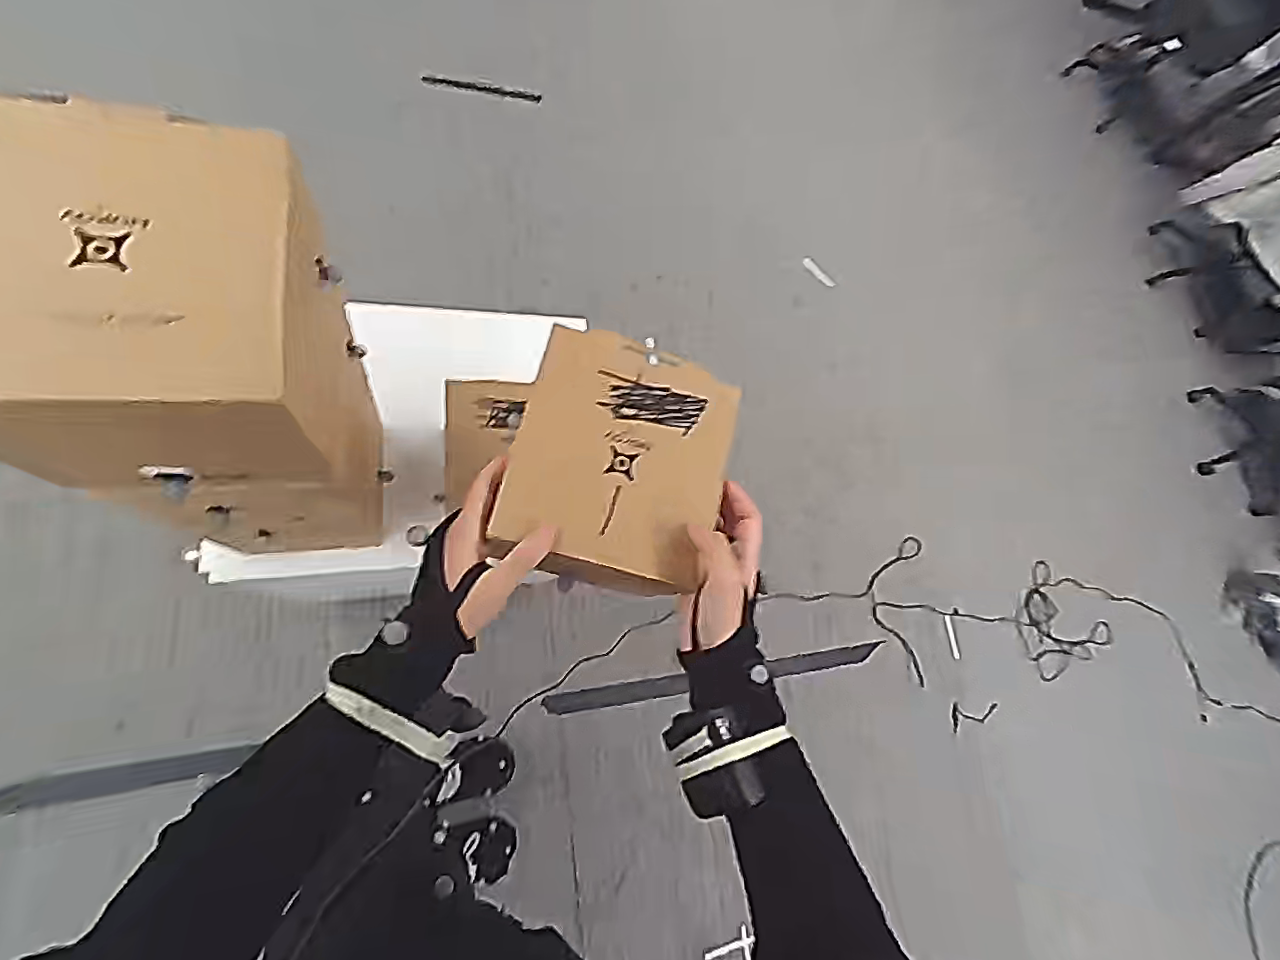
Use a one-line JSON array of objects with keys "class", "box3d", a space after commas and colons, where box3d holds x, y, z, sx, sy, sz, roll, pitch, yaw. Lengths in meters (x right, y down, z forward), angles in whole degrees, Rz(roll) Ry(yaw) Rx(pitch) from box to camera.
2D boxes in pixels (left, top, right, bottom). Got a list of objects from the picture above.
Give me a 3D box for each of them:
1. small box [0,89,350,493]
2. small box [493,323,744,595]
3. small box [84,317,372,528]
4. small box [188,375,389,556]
[{"class": "small box", "box3d": [-0.294, -0.099, 0.348, 0.168, 0.176, 0.179, -4, 77, -19]}, {"class": "small box", "box3d": [-0.029, -0.003, 0.487, 0.168, 0.176, 0.179, 18, 74, -11]}, {"class": "small box", "box3d": [-0.347, -0.055, 0.496, 0.168, 0.176, 0.179, -3, 75, -20]}, {"class": "small box", "box3d": [-0.399, -0.014, 0.644, 0.168, 0.176, 0.179, -2, 74, -19]}]
